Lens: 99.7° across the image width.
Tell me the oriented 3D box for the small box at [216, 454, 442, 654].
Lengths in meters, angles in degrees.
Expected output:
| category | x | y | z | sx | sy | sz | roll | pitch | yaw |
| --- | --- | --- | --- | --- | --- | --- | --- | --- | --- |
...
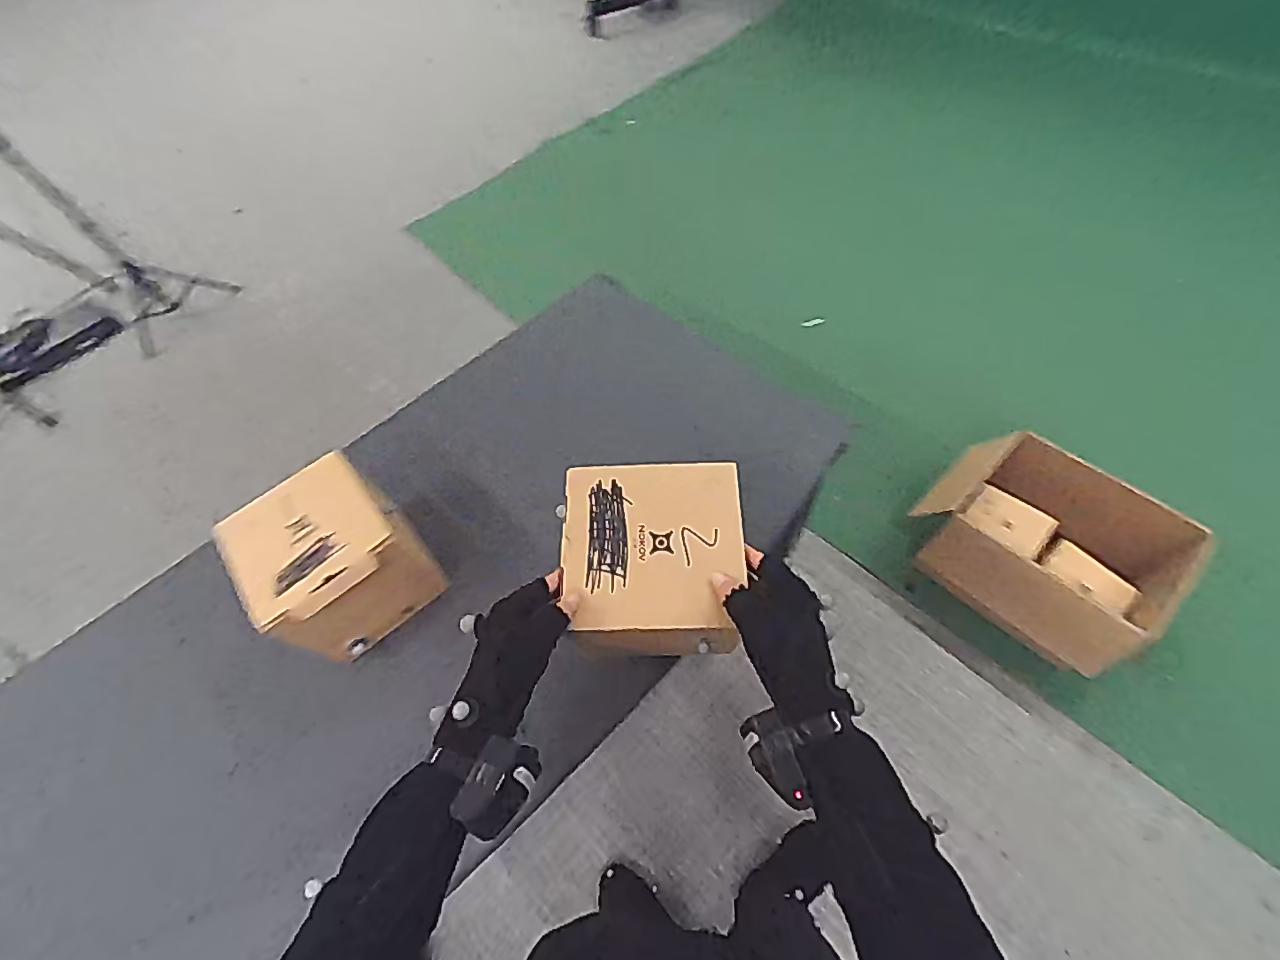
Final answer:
| category | x | y | z | sx | sy | sz | roll | pitch | yaw |
| --- | --- | --- | --- | --- | --- | --- | --- | --- | --- |
| small box | -0.395 | 0.106 | 0.712 | 0.168 | 0.176 | 0.179 | -38 | 62 | -16 |
